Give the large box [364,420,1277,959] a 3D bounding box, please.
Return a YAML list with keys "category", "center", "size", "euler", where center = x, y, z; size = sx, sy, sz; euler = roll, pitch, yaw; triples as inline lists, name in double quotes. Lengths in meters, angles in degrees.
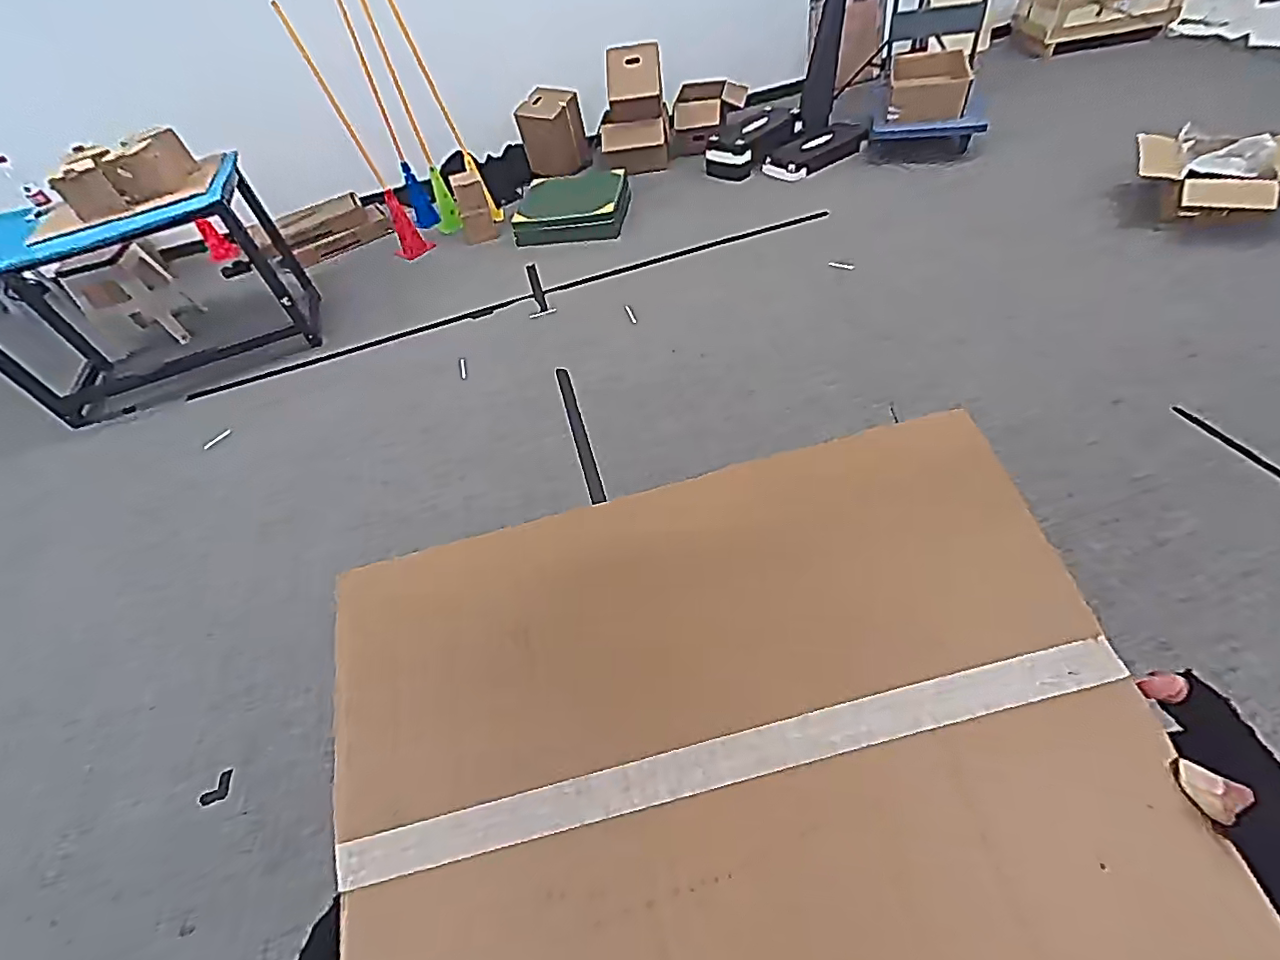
- category: "large box"
  center: [0.064, 0.209, 0.418]
  size: [0.408, 0.320, 0.320]
  euler: [-15, 65, 0]
